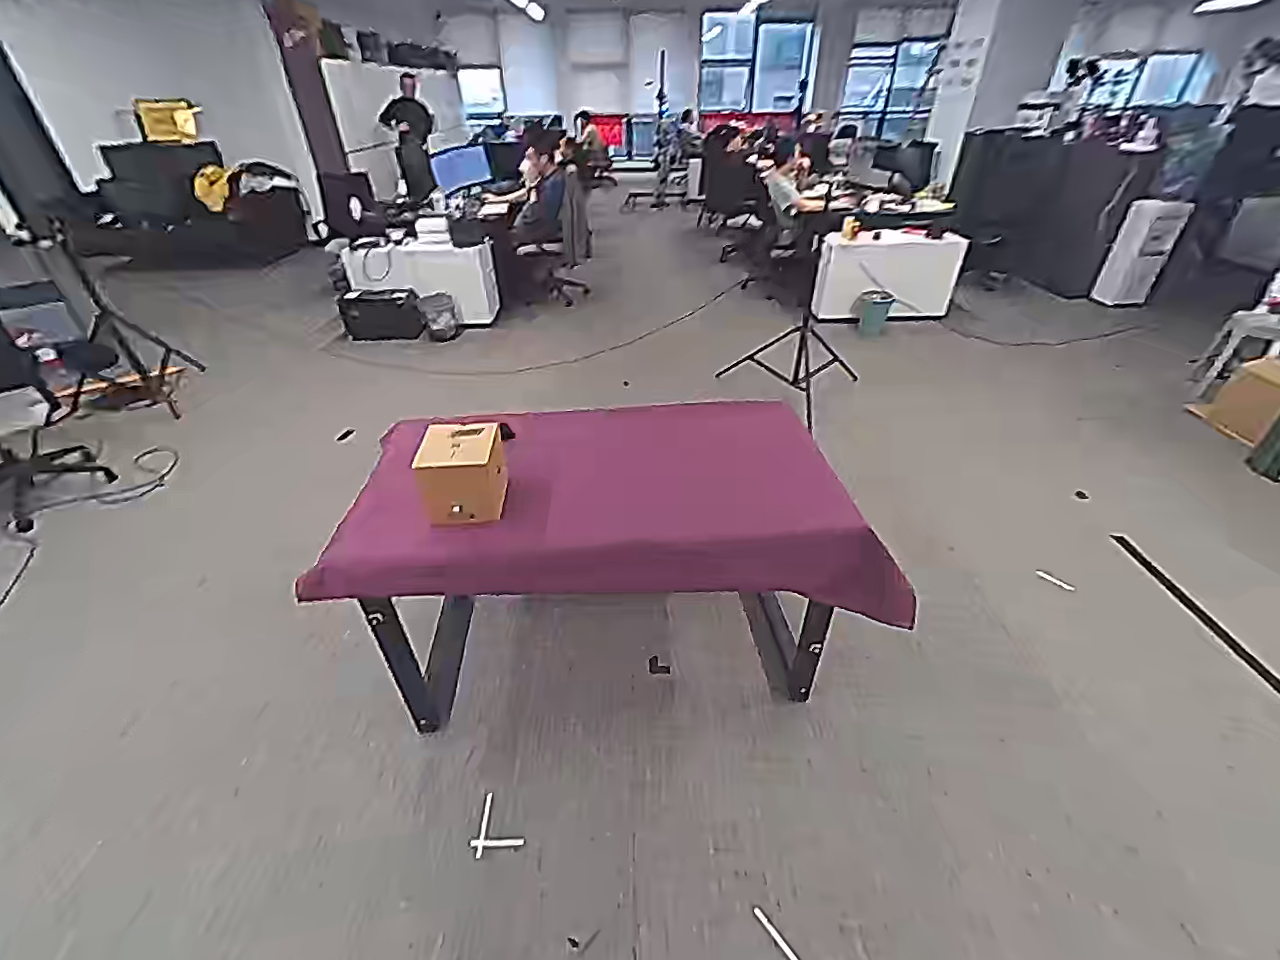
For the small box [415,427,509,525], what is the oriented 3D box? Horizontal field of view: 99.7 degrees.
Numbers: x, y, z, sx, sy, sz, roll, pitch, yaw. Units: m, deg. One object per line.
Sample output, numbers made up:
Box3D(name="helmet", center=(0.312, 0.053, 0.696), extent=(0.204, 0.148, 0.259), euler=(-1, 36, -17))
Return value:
Box3D(name="small box", center=(-0.413, -0.011, 1.288), extent=(0.168, 0.176, 0.179), euler=(-3, 36, -3))
